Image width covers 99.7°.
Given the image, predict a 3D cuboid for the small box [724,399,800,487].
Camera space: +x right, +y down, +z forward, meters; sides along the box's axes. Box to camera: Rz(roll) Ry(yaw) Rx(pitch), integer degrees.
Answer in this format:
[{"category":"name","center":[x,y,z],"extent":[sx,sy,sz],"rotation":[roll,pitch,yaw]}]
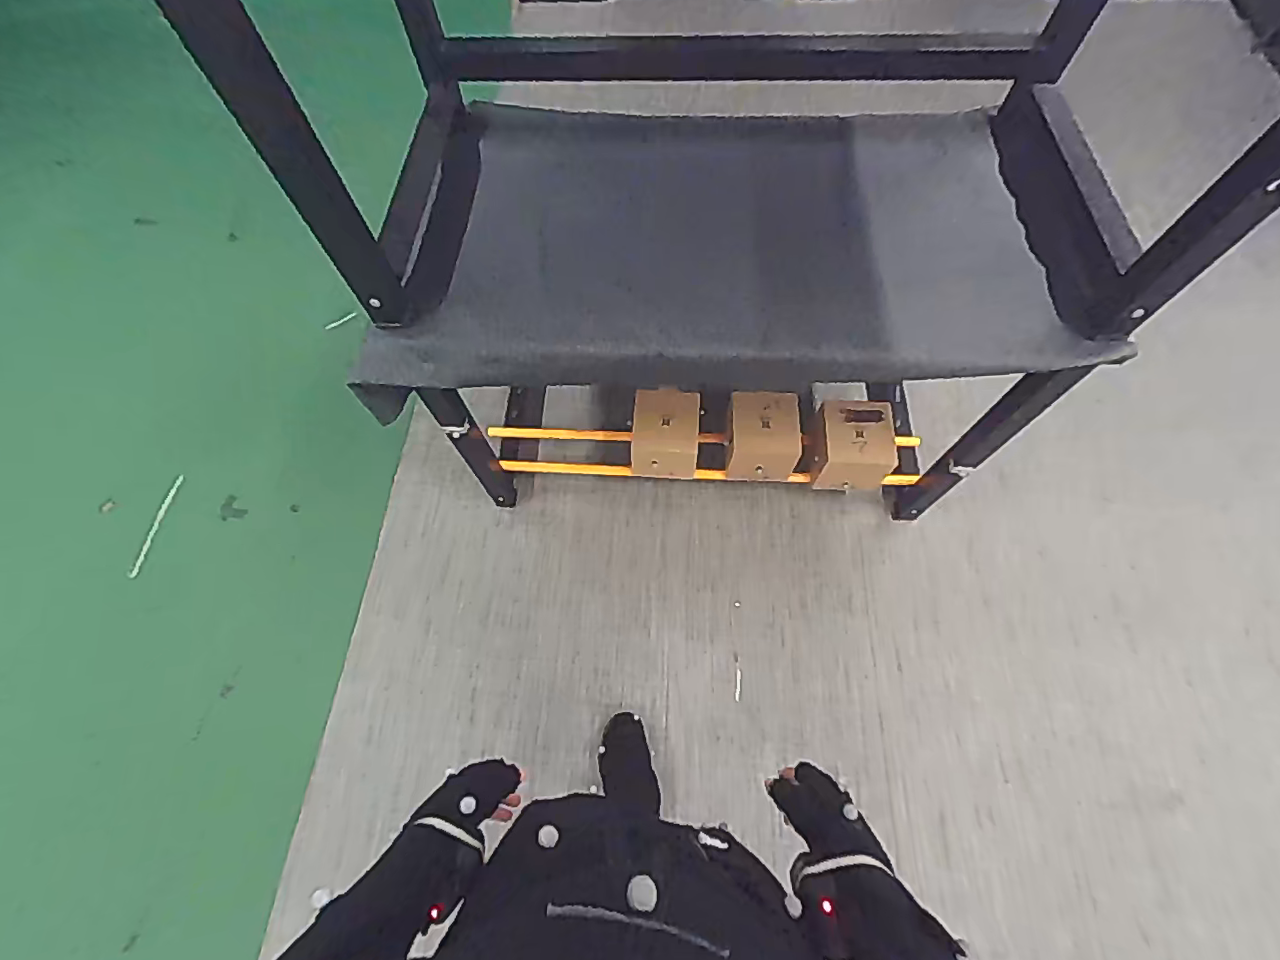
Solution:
[{"category":"small box","center":[0.313,-0.092,1.407],"extent":[0.168,0.176,0.179],"rotation":[2,65,2]}]

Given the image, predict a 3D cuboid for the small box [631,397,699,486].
[{"category":"small box","center":[0.066,-0.096,1.417],"extent":[0.168,0.176,0.179],"rotation":[3,65,2]}]
